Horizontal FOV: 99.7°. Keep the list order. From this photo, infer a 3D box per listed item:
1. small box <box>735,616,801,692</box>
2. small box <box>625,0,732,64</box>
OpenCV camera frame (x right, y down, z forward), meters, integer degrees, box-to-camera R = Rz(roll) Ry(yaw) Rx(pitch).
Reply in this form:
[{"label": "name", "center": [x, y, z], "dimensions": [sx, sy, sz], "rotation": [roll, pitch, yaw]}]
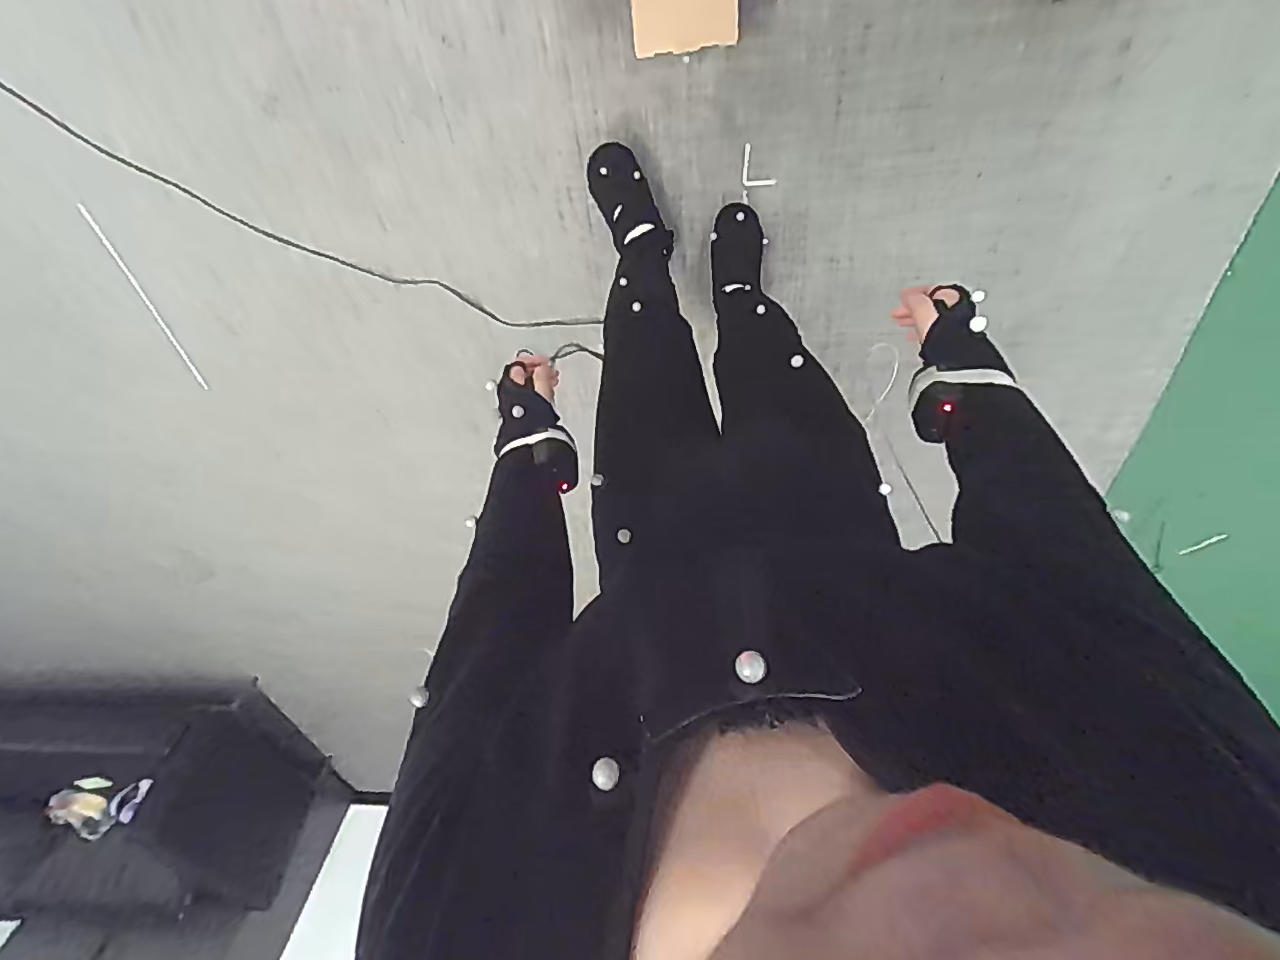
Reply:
[{"label": "small box", "center": [0.396, 0.544, 1.700], "dimensions": [0.179, 0.176, 0.168], "rotation": [2, 129, 6]}, {"label": "small box", "center": [0.065, -0.799, 0.878], "dimensions": [0.168, 0.176, 0.179], "rotation": [-1, 129, 9]}]
